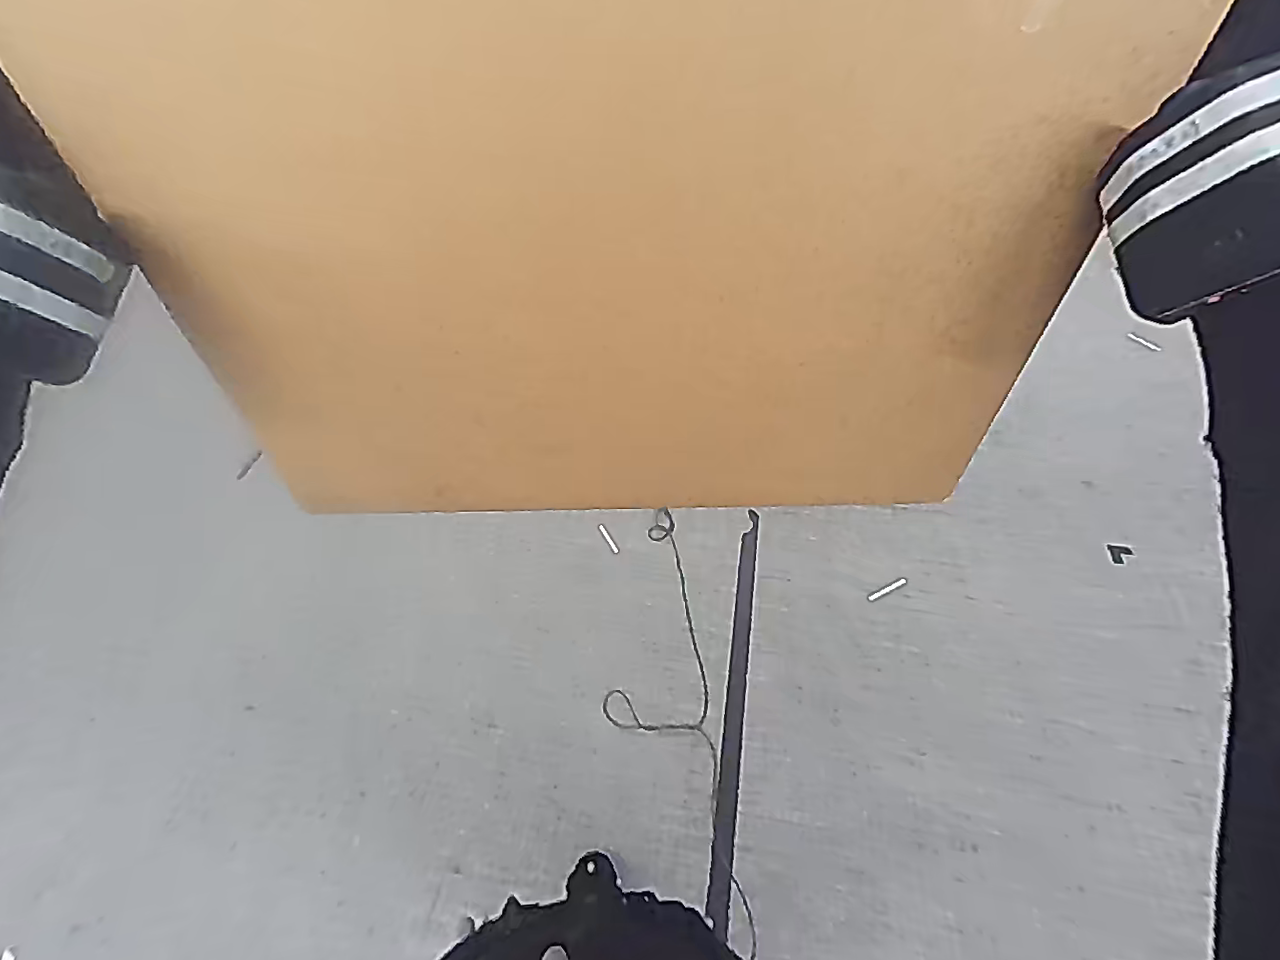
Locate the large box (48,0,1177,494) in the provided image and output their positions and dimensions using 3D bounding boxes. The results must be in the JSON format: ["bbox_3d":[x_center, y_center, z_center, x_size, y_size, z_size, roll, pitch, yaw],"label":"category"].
[{"bbox_3d":[-0.011,-0.205,0.354,0.408,0.320,0.320,-1,45,-1],"label":"large box"}]
